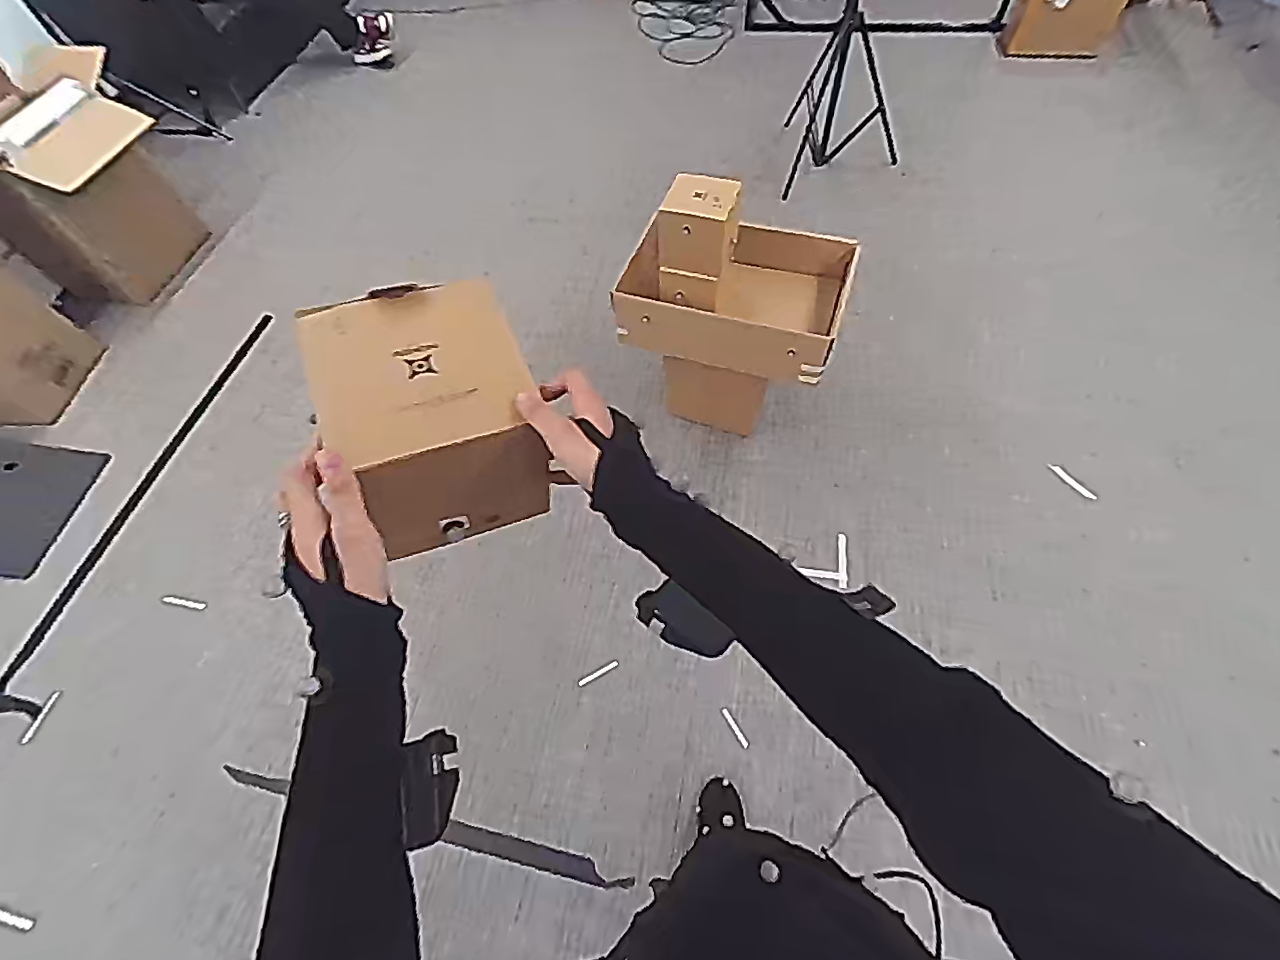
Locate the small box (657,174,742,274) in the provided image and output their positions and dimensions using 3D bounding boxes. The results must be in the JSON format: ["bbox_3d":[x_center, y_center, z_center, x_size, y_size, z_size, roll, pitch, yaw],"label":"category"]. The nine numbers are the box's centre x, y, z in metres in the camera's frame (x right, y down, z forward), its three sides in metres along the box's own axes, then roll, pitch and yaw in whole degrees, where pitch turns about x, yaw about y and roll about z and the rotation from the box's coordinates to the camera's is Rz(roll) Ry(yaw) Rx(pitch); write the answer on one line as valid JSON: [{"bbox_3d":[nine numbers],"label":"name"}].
[{"bbox_3d":[0.155,-0.667,1.418,0.179,0.176,0.168,16,63,13],"label":"small box"}]

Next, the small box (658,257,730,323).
[{"bbox_3d":[0.160,-0.579,1.557,0.168,0.176,0.179,15,62,12],"label":"small box"}]

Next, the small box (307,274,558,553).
[{"bbox_3d":[-0.183,-0.059,0.508,0.168,0.176,0.179,-18,63,-18],"label":"small box"}]
